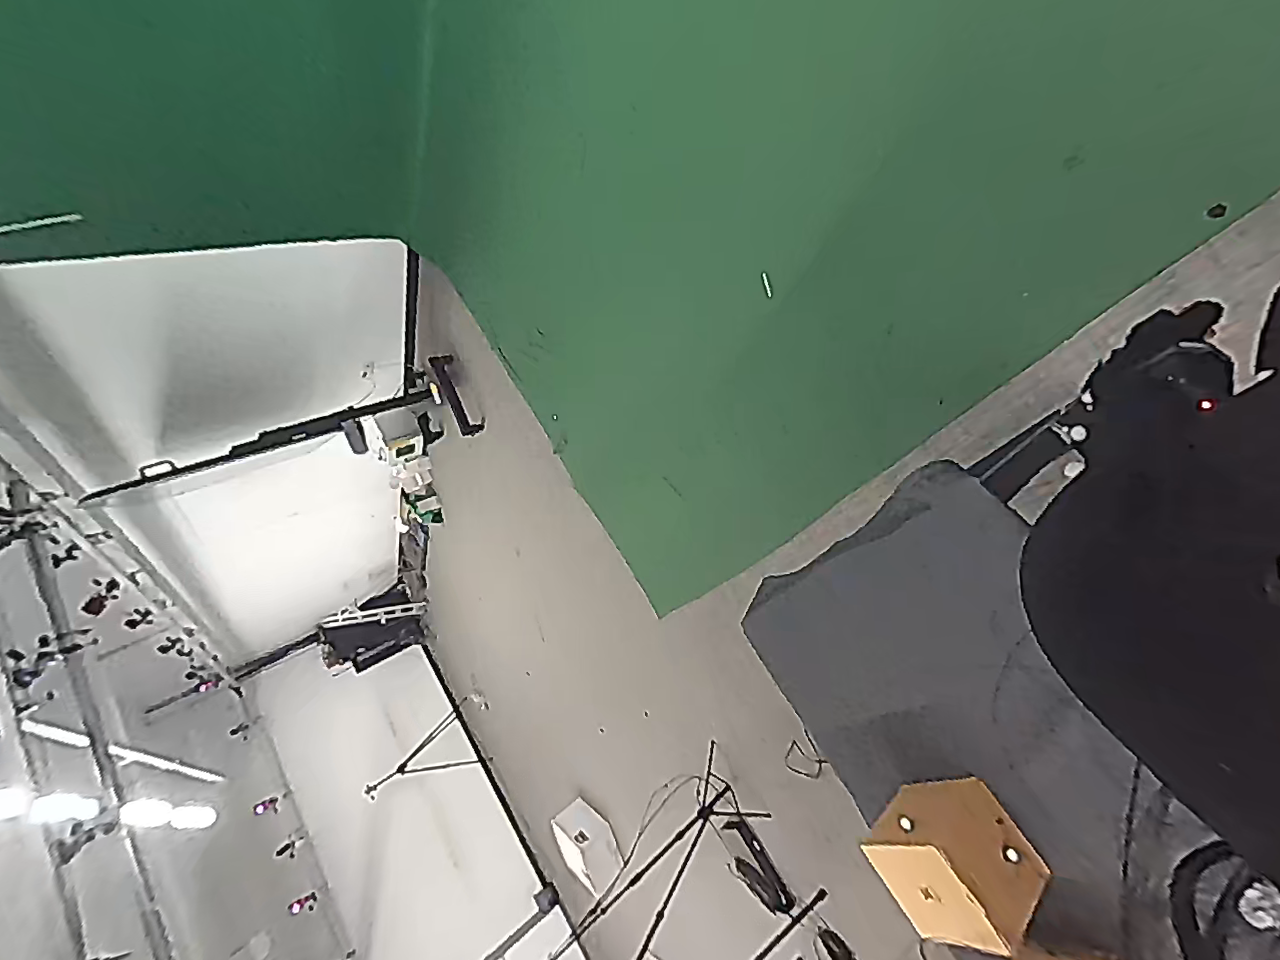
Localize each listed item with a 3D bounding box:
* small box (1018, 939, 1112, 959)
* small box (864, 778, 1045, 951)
[{"bbox_3d":[0.693,0.858,0.824,0.179,0.176,0.168,56,143,14],"label":"small box"},{"bbox_3d":[0.531,0.637,0.917,0.168,0.176,0.179,55,143,16],"label":"small box"}]
